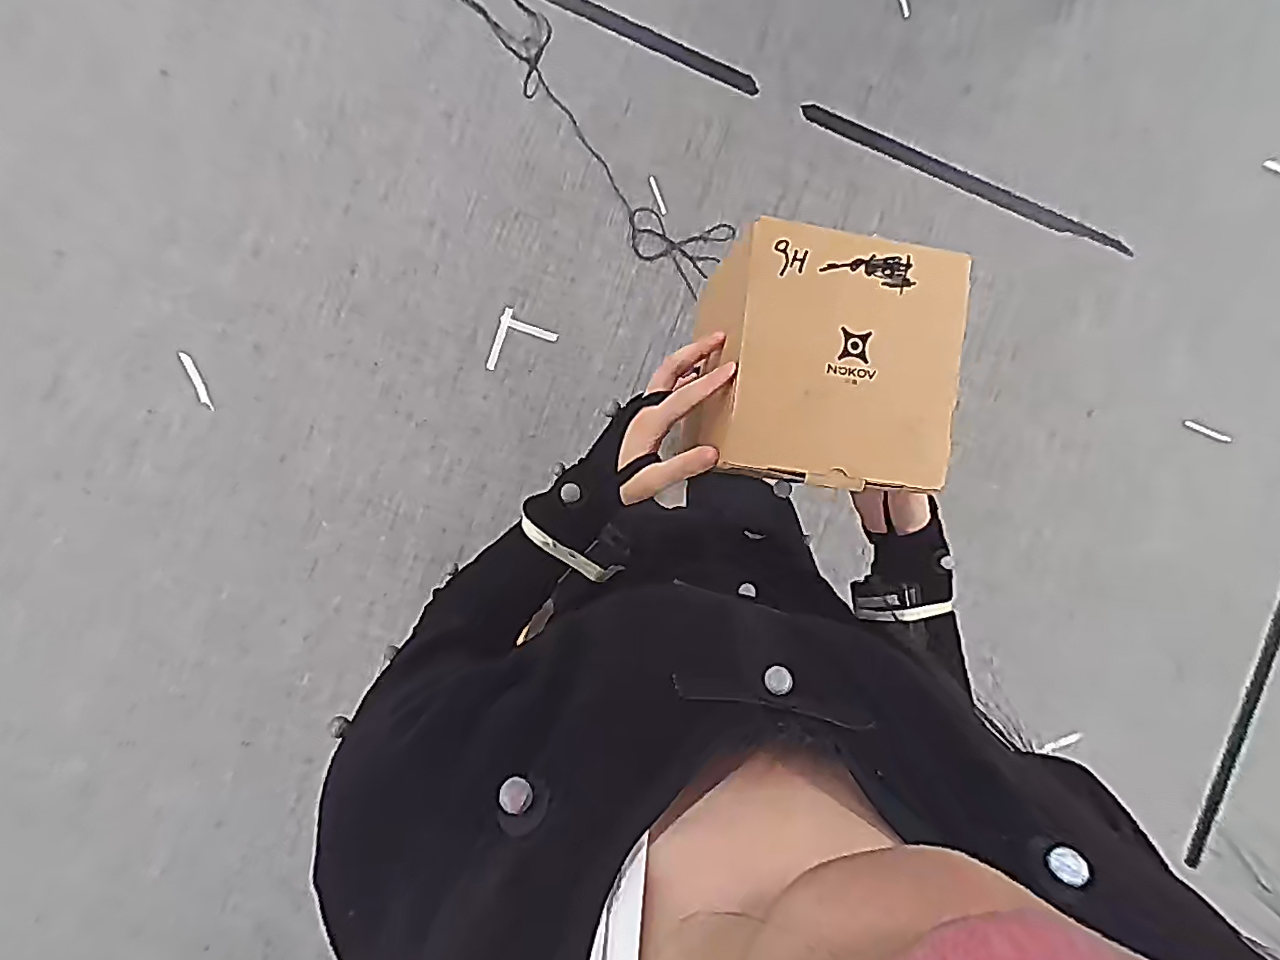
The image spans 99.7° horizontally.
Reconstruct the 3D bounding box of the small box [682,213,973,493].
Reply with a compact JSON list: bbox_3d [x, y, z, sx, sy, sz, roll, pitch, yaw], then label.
[{"bbox_3d":[0.137,-0.090,0.458,0.168,0.176,0.179,7,91,-8],"label":"small box"}]
